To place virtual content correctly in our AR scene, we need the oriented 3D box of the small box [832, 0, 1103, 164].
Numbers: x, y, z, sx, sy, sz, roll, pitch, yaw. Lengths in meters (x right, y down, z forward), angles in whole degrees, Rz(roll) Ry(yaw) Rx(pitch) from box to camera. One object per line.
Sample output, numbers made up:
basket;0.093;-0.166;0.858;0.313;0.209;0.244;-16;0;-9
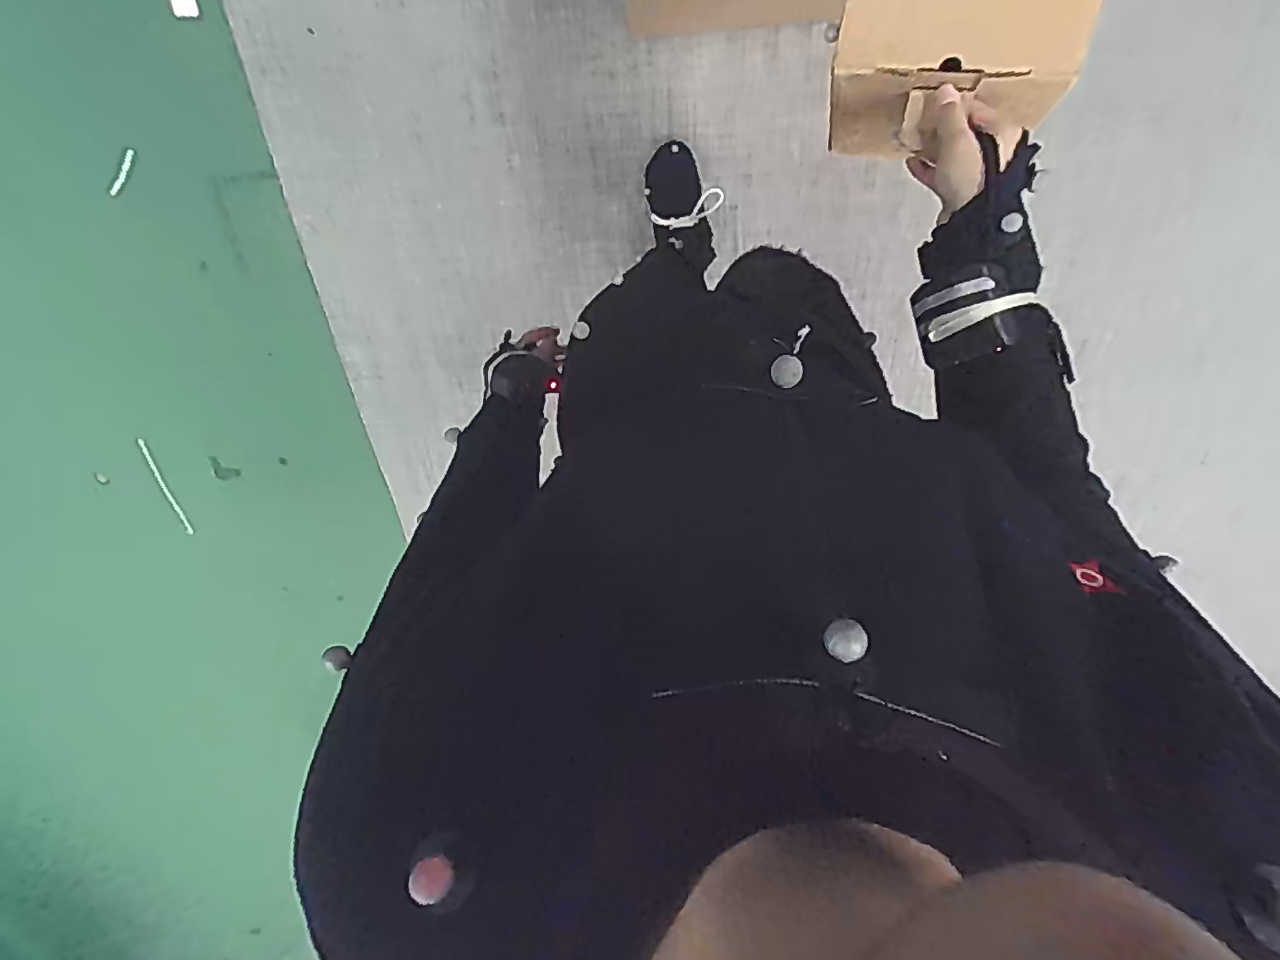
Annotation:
small box;0.259;-0.389;0.439;0.168;0.176;0.179;14;105;15
